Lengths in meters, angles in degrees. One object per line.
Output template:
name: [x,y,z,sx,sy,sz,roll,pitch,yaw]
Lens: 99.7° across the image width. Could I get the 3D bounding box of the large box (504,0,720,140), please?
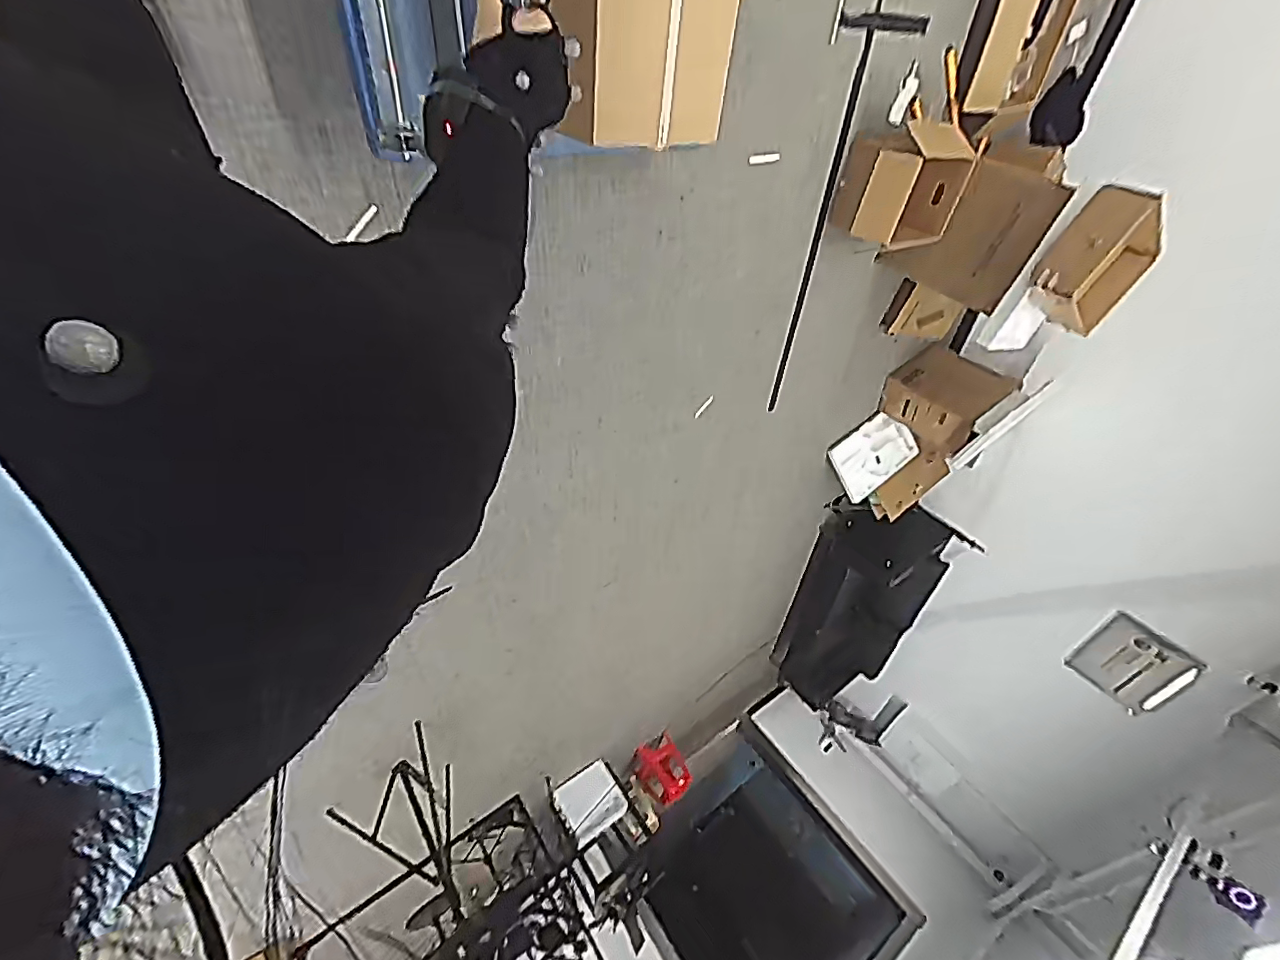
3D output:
large box: [-0.061,-0.919,1.045,0.320,0.320,0.408,-22,138,-30]
